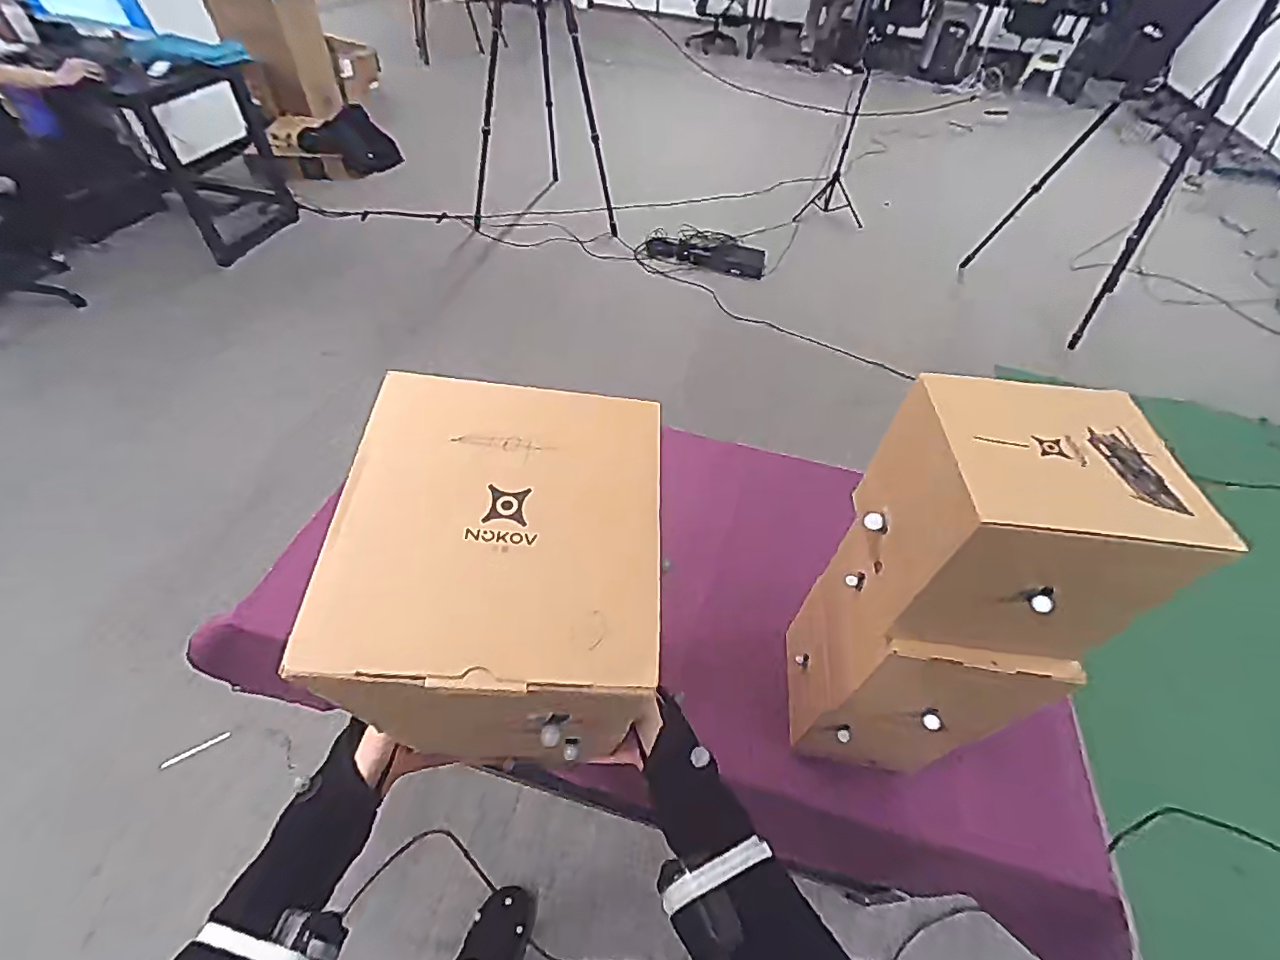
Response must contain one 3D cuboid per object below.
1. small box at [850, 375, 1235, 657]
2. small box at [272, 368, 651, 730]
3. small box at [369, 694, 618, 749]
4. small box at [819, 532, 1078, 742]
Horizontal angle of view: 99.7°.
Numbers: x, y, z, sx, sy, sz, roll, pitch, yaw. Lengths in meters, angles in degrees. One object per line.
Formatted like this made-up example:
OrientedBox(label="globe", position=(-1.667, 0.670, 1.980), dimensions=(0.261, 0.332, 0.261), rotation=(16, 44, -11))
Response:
OrientedBox(label="small box", position=(0.303, 0.035, 0.462), dimensions=(0.179, 0.176, 0.168), rotation=(6, 48, 2))
OrientedBox(label="small box", position=(-0.089, 0.057, 0.354), dimensions=(0.168, 0.176, 0.179), rotation=(7, 57, -6))
OrientedBox(label="small box", position=(-0.113, 0.144, 0.490), dimensions=(0.179, 0.176, 0.168), rotation=(4, 58, -8))
OrientedBox(label="small box", position=(0.299, 0.153, 0.577), dimensions=(0.168, 0.176, 0.179), rotation=(9, 49, 4))
